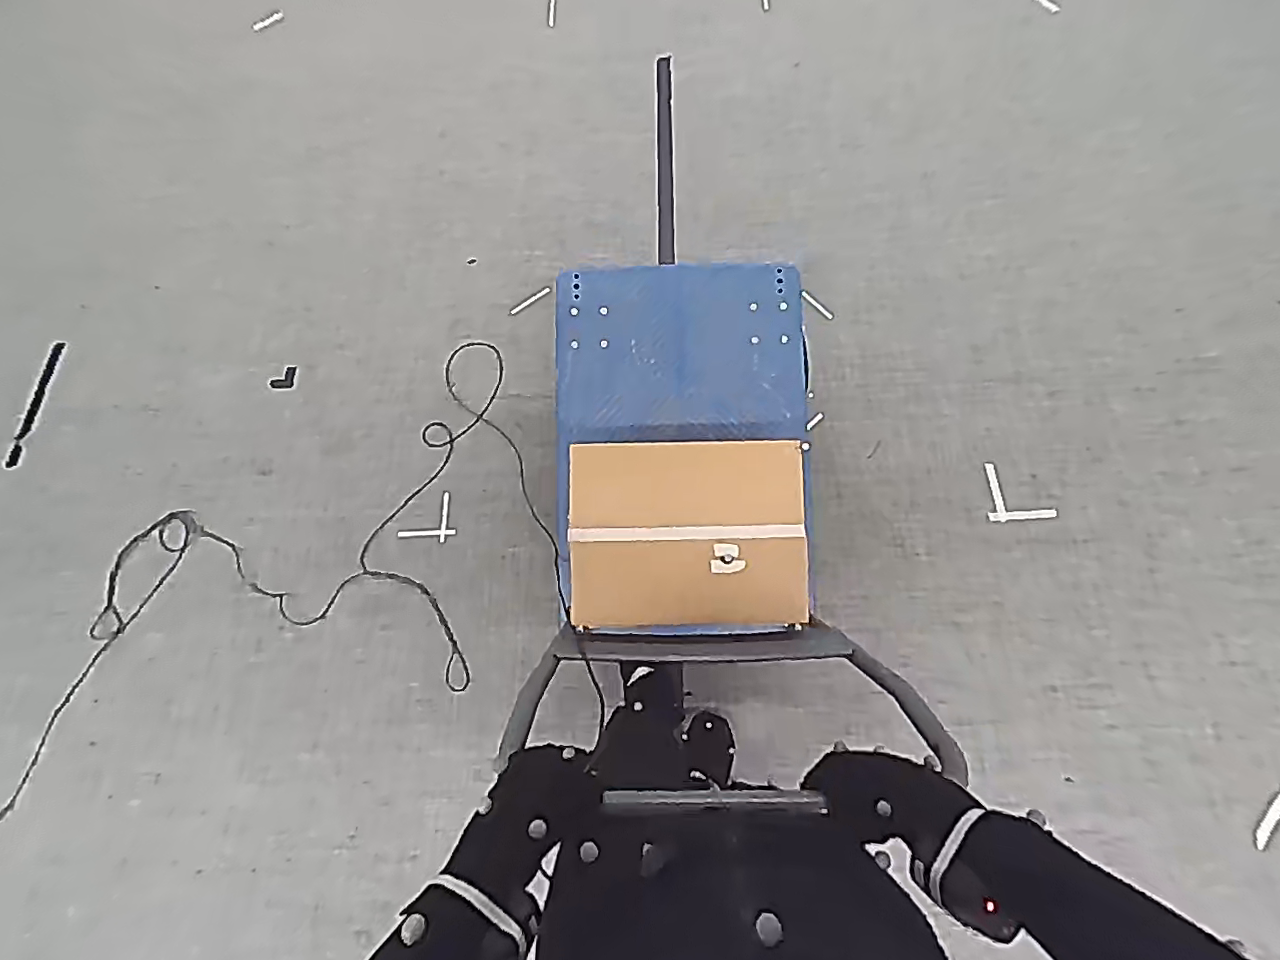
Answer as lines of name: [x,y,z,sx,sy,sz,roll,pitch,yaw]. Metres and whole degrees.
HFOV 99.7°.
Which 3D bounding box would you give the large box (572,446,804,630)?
large box: [0.080,0.113,1.095,0.408,0.320,0.320,-1,85,0]
